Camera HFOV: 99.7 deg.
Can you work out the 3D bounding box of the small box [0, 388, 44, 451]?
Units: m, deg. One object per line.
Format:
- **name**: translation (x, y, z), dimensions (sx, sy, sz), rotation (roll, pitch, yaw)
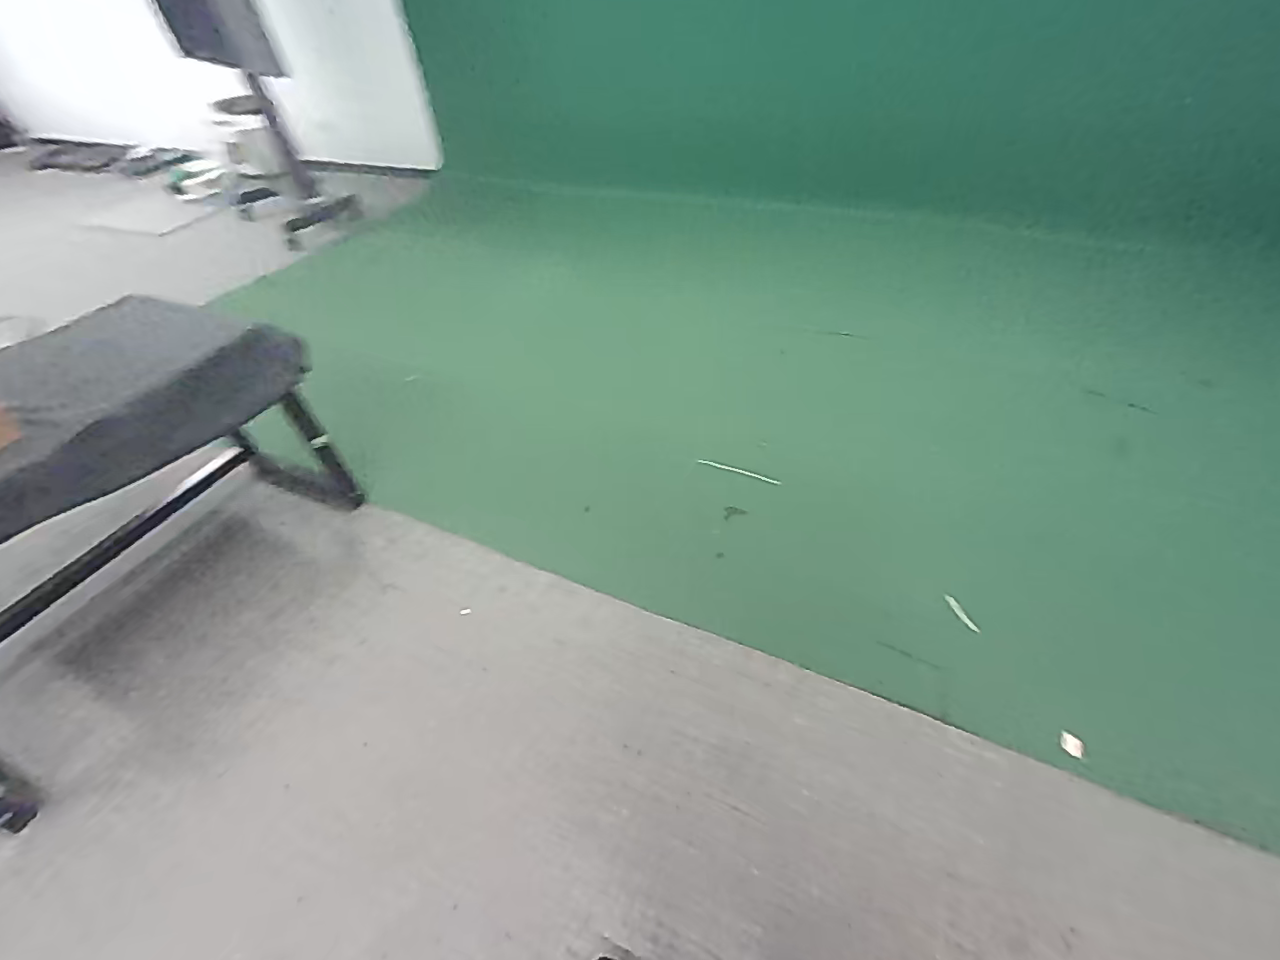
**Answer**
- **small box**: translation (-1.462, -0.137, 1.147), dimensions (0.168, 0.176, 0.179), rotation (14, 48, 21)
